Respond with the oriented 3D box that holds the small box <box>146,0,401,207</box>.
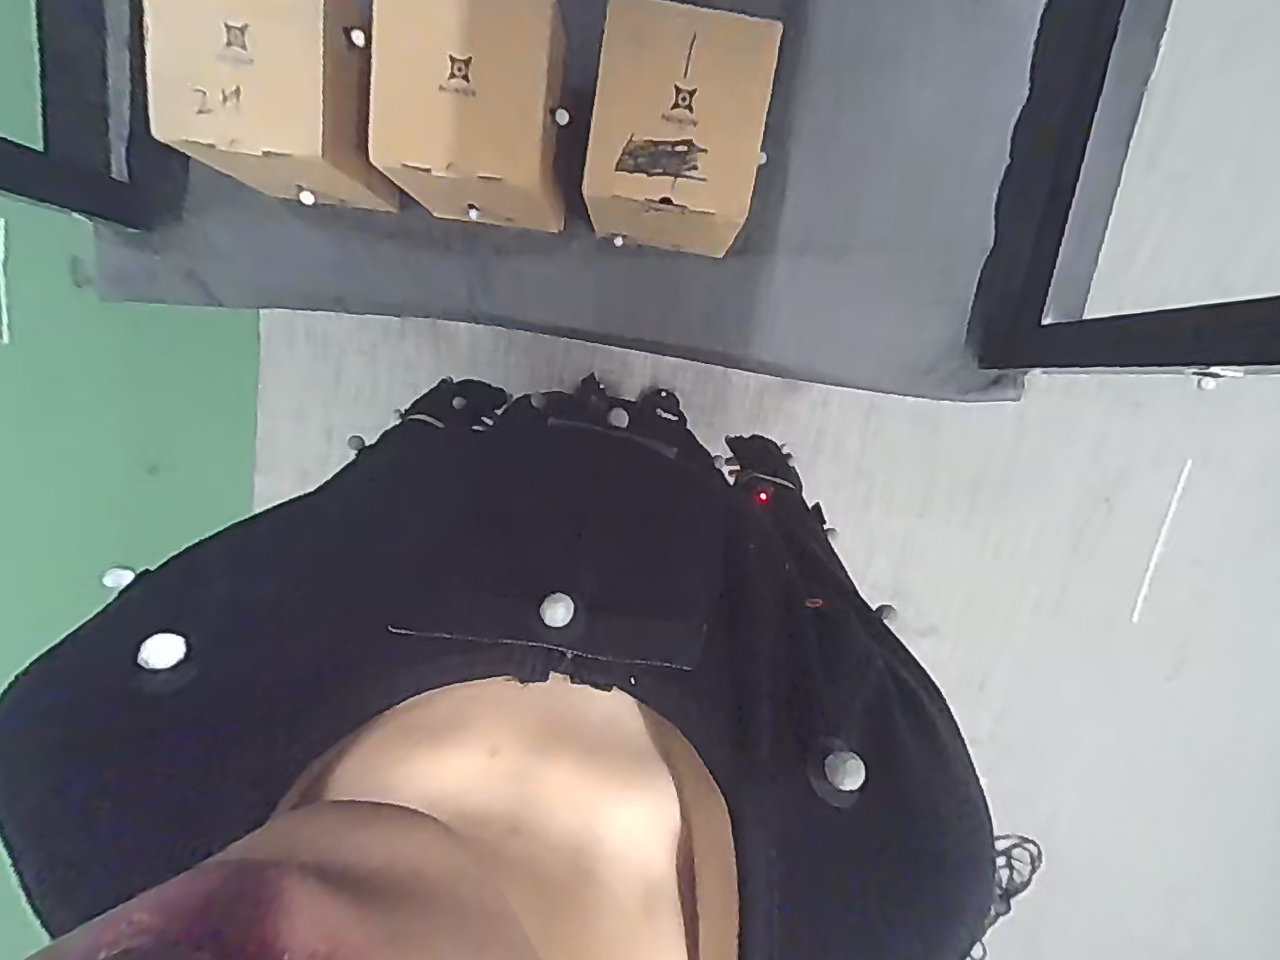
[{"bbox_3d":[-0.373,-0.421,0.579,0.168,0.176,0.179,6,100,-1],"label":"small box"}]
